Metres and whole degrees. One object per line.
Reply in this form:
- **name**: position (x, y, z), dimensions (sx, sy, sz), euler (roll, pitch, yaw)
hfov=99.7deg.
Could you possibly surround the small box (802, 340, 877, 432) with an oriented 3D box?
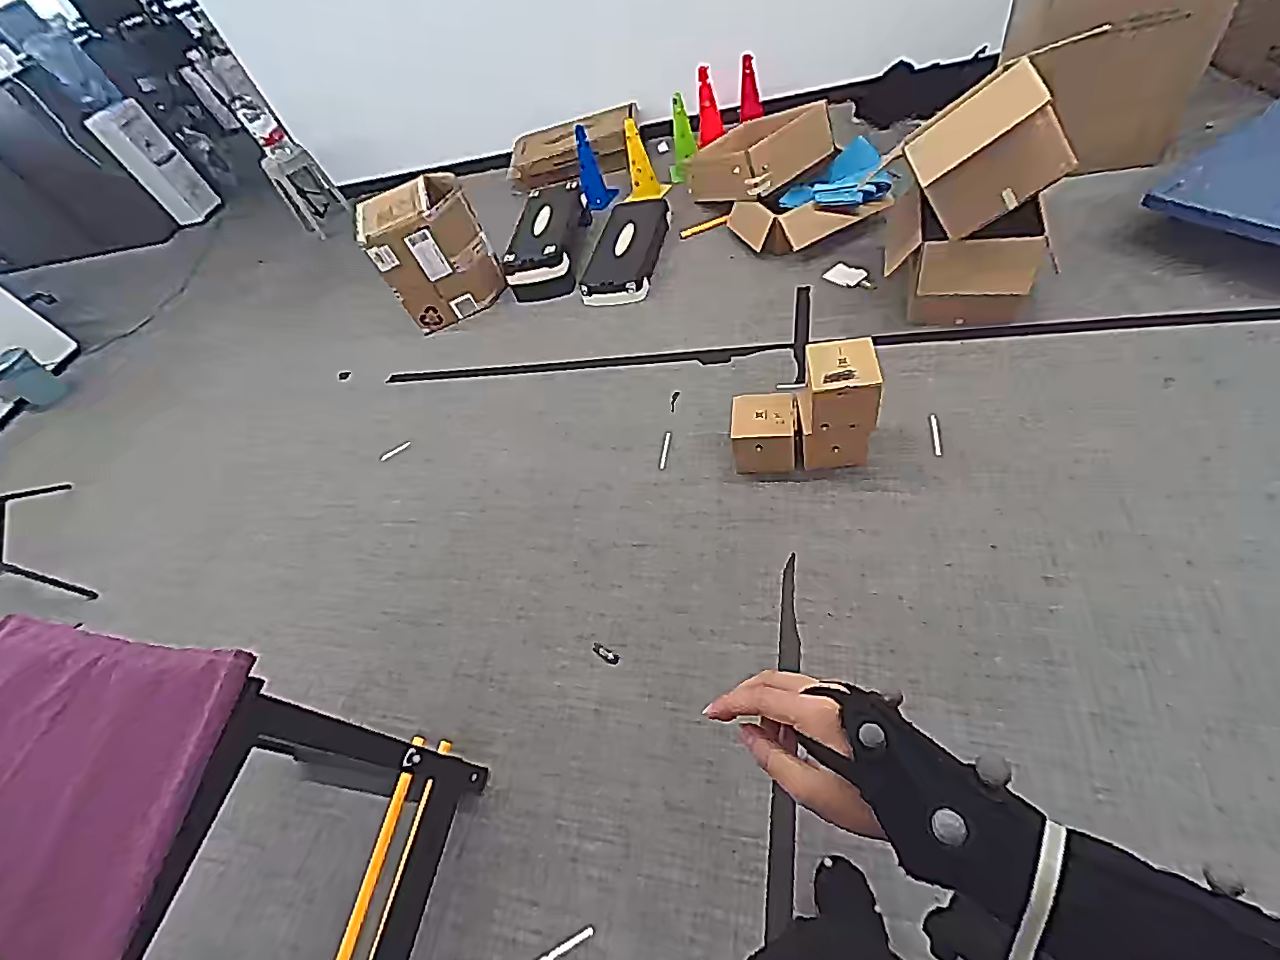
- **small box**: position (0.524, -0.241, 1.434), dimensions (0.168, 0.176, 0.179), euler (-4, 53, 14)
